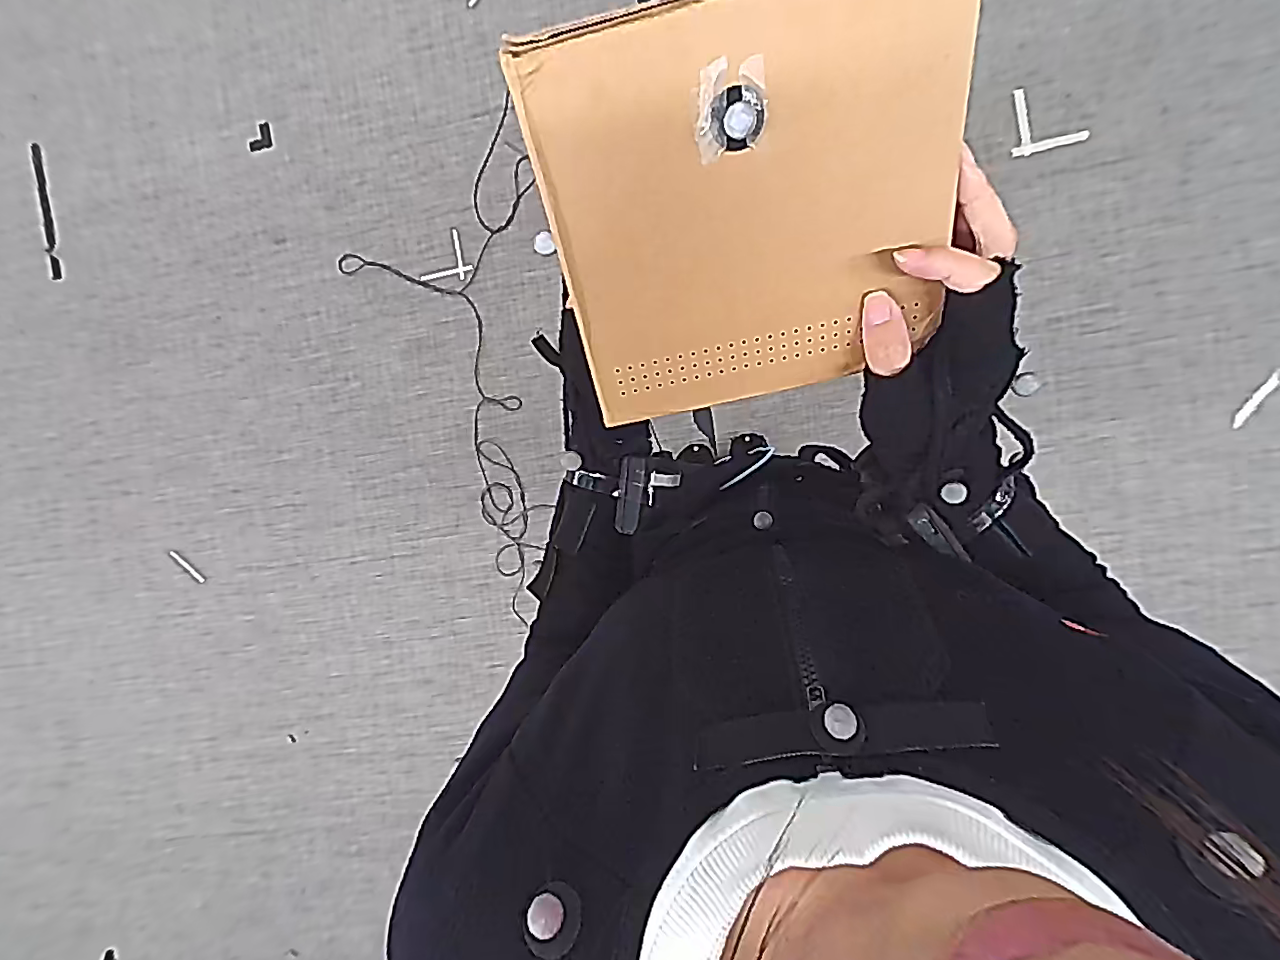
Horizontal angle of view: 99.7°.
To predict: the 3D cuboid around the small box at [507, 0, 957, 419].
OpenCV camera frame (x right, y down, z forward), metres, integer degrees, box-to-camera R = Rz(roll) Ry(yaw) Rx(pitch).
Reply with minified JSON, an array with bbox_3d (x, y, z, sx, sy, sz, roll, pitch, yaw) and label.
[{"bbox_3d":[0.048,-0.152,0.305,0.179,0.168,0.176,-11,126,5],"label":"small box"}]
